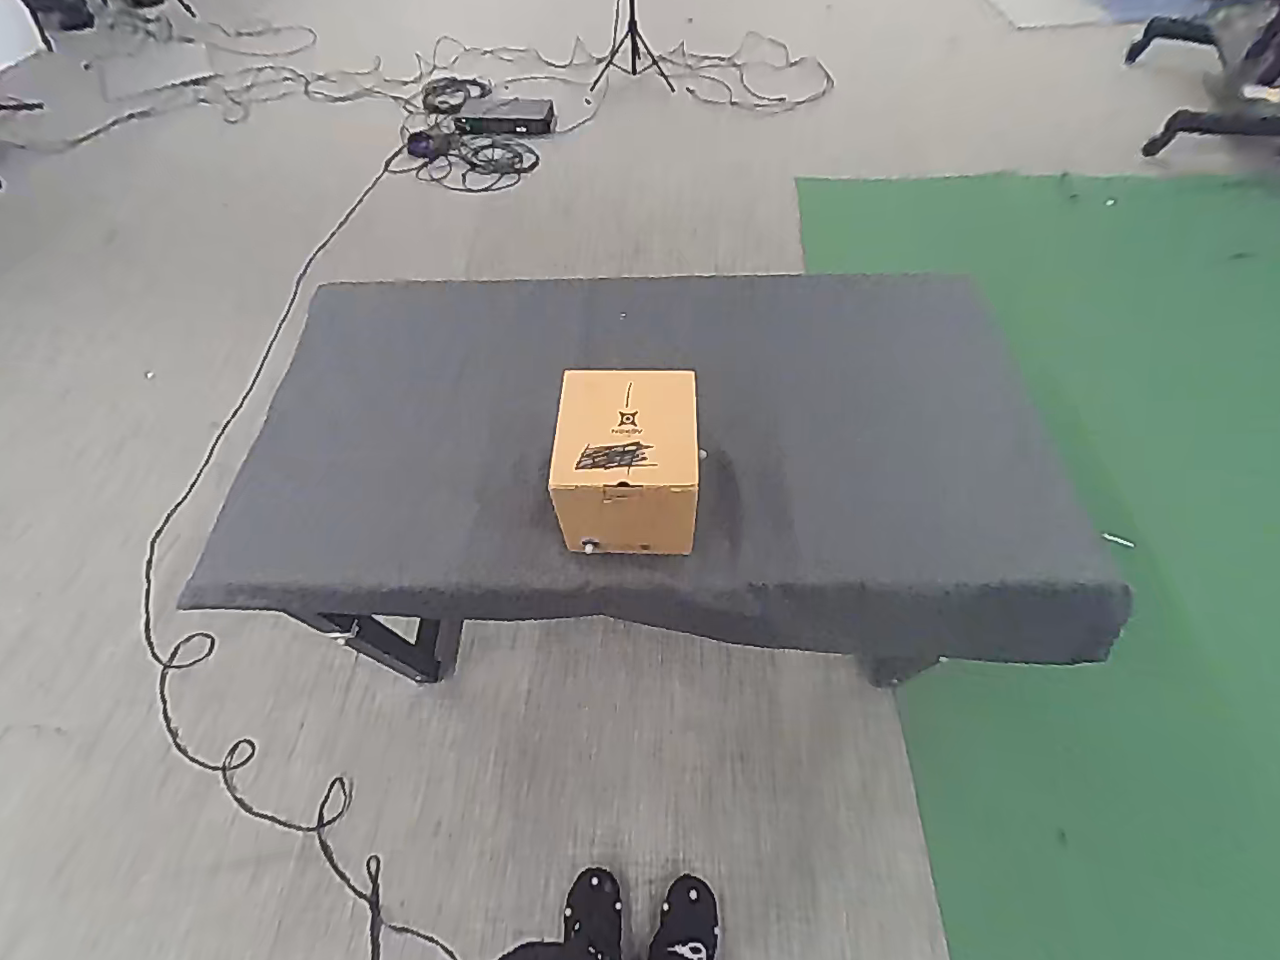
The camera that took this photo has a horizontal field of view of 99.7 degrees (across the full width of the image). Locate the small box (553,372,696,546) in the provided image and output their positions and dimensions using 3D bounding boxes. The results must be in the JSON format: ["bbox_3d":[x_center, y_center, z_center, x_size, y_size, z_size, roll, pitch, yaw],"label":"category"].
[{"bbox_3d":[-0.010,-0.023,0.717,0.168,0.176,0.179,1,57,3],"label":"small box"}]
